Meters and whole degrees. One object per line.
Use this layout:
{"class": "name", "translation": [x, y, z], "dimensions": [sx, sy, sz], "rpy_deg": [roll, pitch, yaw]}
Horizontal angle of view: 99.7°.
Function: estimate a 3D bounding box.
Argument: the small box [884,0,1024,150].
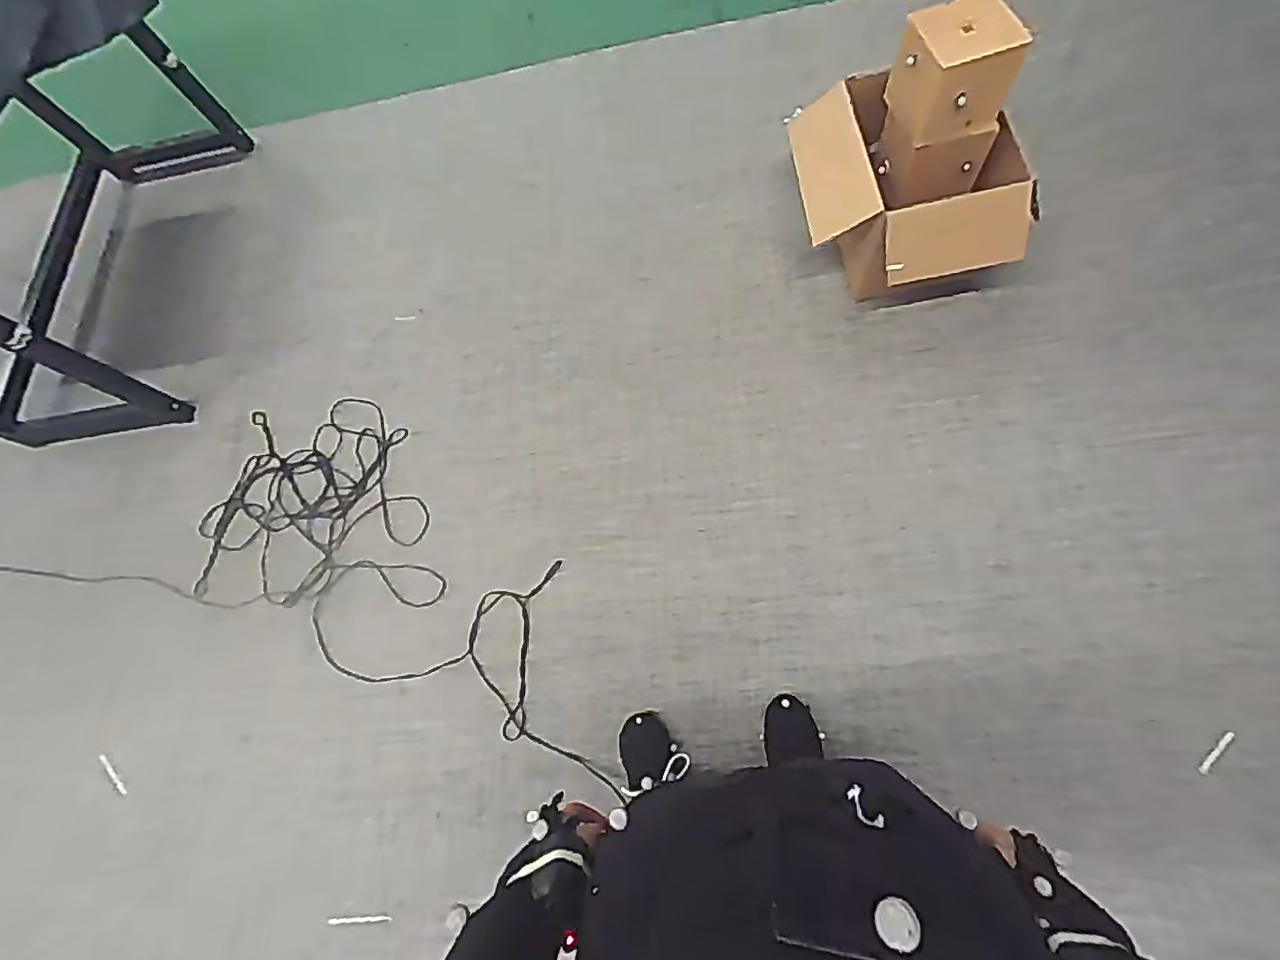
{"class": "small box", "translation": [0.624, -0.809, 1.101], "dimensions": [0.168, 0.176, 0.179], "rpy_deg": [-15, 67, 4]}
